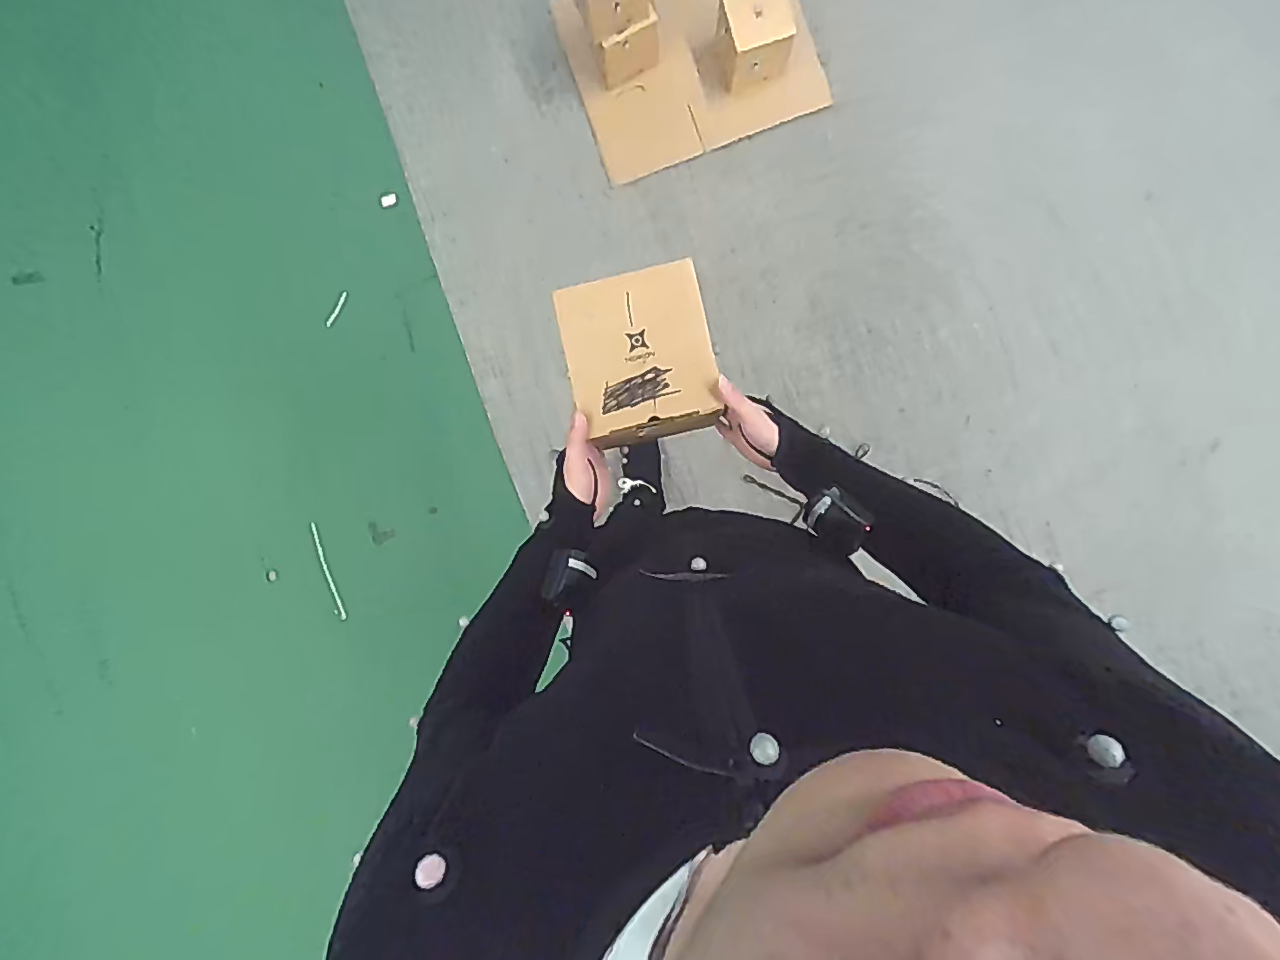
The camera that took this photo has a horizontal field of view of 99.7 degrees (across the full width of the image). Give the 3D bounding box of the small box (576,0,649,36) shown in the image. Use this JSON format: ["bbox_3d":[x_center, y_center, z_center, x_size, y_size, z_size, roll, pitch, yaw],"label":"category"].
[{"bbox_3d":[-0.084,-1.281,1.368,0.168,0.176,0.179,-25,88,2],"label":"small box"}]

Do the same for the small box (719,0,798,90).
[{"bbox_3d":[0.324,-1.233,1.506,0.168,0.176,0.179,-16,88,4],"label":"small box"}]

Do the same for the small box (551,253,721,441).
[{"bbox_3d":[0.001,-0.150,0.679,0.168,0.176,0.179,-12,87,3],"label":"small box"}]

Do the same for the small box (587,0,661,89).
[{"bbox_3d":[-0.050,-1.273,1.532,0.168,0.176,0.179,-26,88,3],"label":"small box"}]
